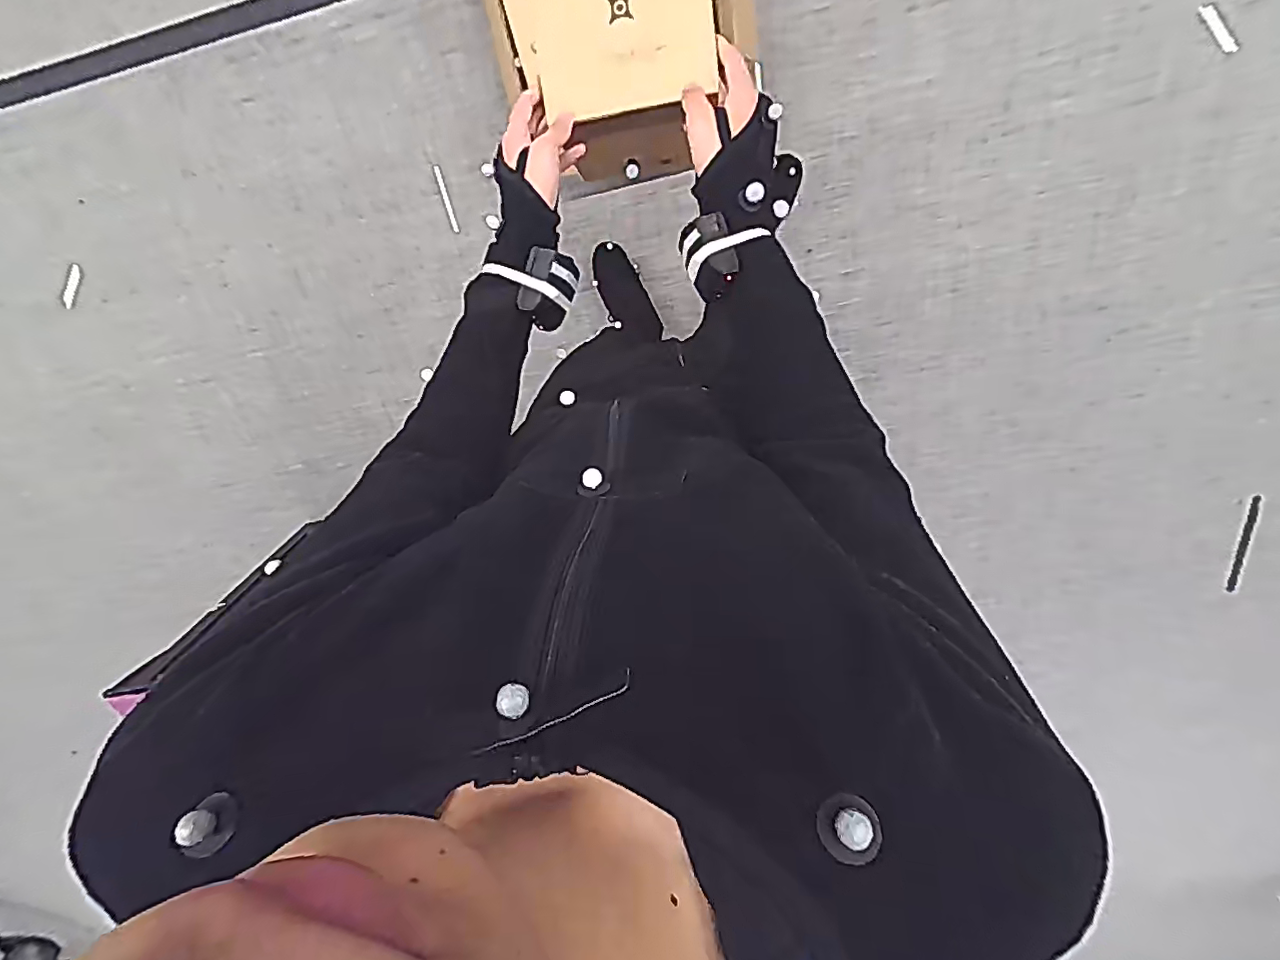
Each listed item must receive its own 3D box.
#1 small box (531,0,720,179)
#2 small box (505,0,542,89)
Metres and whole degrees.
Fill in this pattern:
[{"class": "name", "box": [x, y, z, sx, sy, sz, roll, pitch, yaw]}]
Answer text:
[{"class": "small box", "box": [-0.008, -0.446, 0.562, 0.168, 0.176, 0.179, -6, 101, 9]}, {"class": "small box", "box": [-0.143, -0.842, 0.992, 0.168, 0.176, 0.179, -12, 117, 6]}]
